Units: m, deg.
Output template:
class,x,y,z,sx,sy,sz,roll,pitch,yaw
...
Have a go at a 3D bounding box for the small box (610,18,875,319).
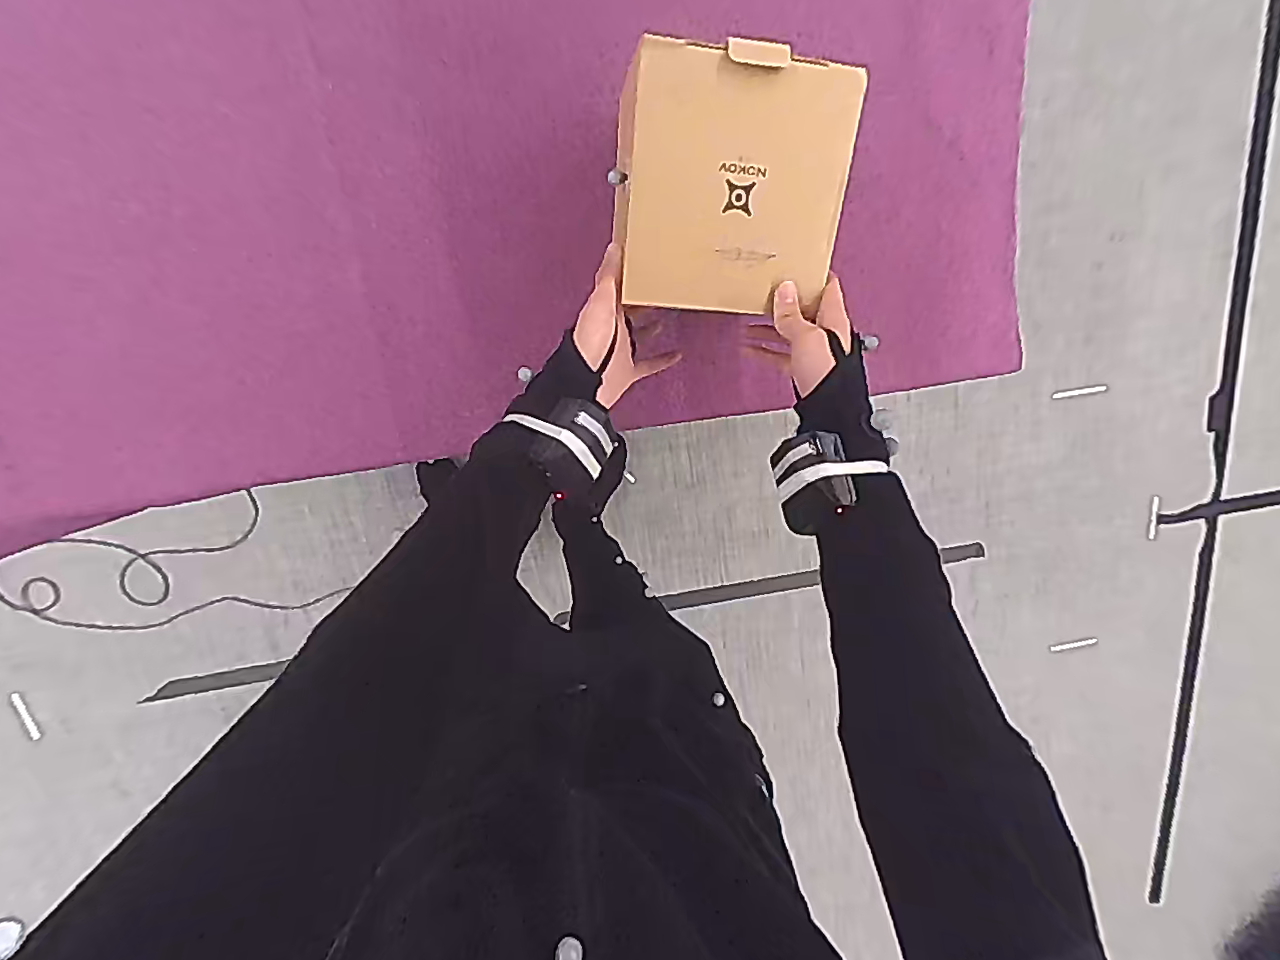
class,x,y,z,sx,sy,sz,roll,pitch,yaw
small box,0.066,-0.245,0.469,0.168,0.176,0.179,4,111,-9
